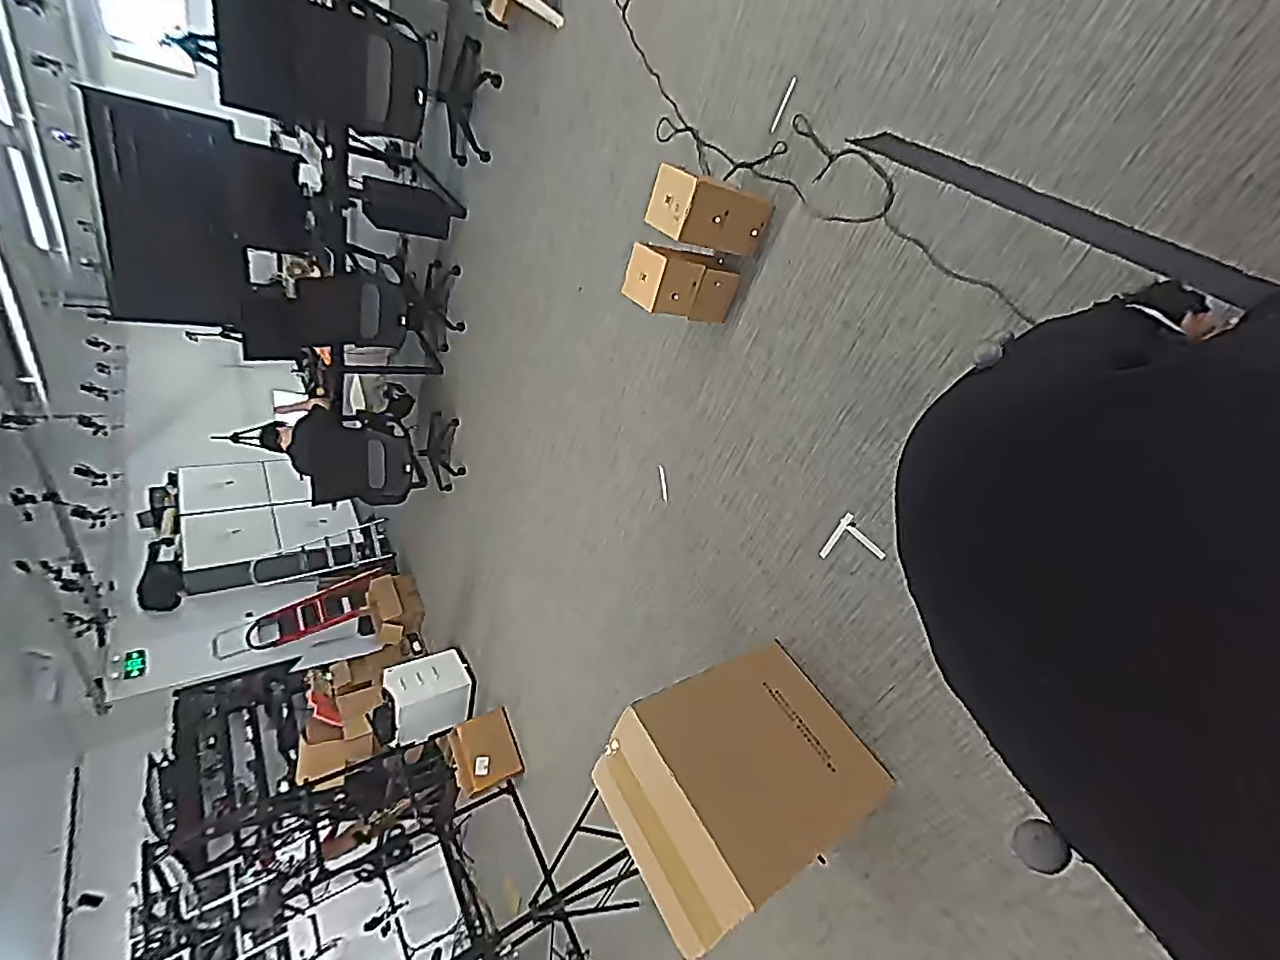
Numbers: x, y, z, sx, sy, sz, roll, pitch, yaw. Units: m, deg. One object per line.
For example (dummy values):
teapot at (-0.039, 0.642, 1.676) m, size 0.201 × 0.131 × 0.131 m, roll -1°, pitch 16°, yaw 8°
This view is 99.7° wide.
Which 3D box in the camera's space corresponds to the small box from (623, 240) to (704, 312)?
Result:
small box at (0.075, -0.641, 1.711) m, size 0.179 × 0.176 × 0.168 m, roll 46°, pitch 131°, yaw 38°

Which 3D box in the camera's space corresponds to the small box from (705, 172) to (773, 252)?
small box at (0.276, -0.827, 1.680) m, size 0.179 × 0.176 × 0.168 m, roll 50°, pitch 133°, yaw 33°

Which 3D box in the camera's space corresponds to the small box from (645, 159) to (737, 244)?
small box at (0.147, -0.807, 1.579) m, size 0.179 × 0.176 × 0.168 m, roll 48°, pitch 132°, yaw 35°
